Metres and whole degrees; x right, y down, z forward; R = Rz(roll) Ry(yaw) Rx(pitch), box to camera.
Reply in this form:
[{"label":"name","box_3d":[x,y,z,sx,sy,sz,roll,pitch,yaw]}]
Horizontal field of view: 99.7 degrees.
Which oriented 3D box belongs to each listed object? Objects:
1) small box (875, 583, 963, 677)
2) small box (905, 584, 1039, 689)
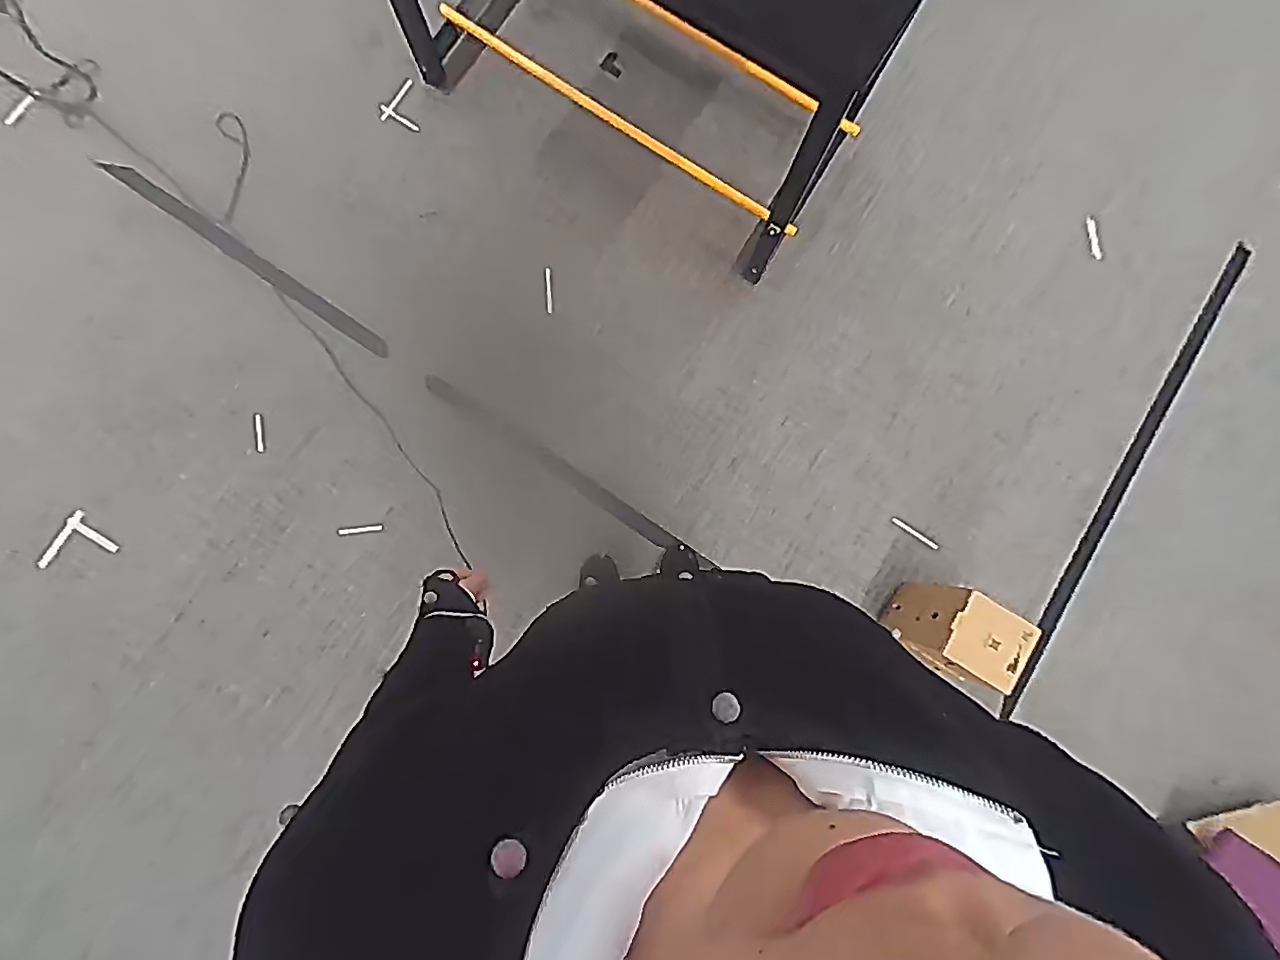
[{"label":"small box","box_3d":[0.768,0.386,1.433,0.179,0.176,0.168,34,84,2]},{"label":"small box","box_3d":[0.768,0.357,1.272,0.179,0.176,0.168,32,84,2]}]
